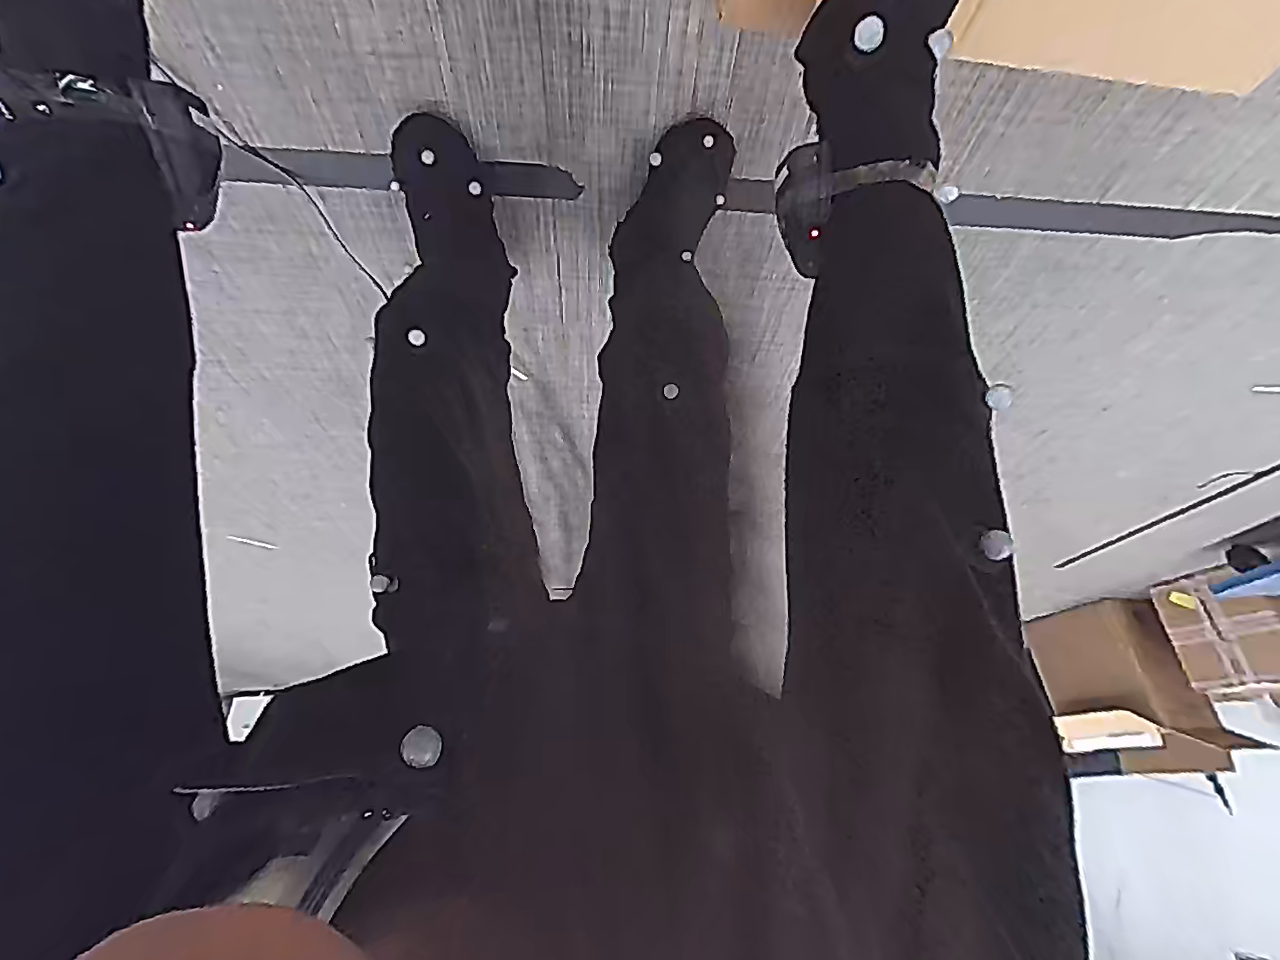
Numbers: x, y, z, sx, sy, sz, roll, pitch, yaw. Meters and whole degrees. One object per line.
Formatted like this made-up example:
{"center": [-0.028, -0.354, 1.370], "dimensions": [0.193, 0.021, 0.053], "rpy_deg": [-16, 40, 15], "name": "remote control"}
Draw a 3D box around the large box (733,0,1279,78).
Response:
{"center": [0.266, -0.511, 0.328], "dimensions": [0.408, 0.320, 0.320], "rpy_deg": [1, 152, -8], "name": "large box"}
